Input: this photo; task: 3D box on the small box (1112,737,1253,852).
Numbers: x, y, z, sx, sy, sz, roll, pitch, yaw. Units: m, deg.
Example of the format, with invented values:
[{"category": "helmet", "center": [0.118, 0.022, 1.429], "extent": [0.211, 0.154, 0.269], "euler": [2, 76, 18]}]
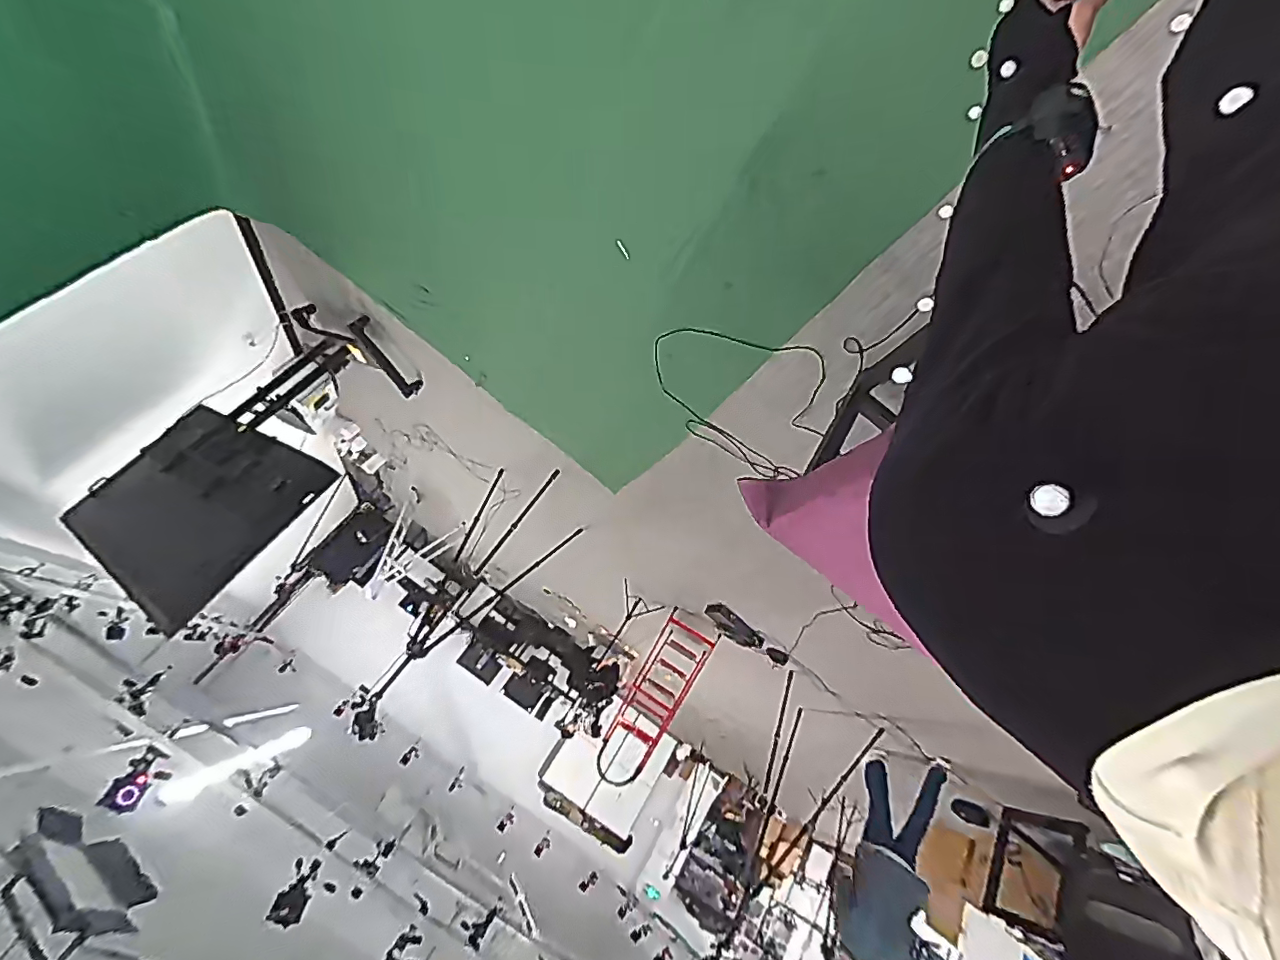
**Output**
[{"category": "small box", "center": [1.270, 0.721, 1.267], "extent": [0.168, 0.176, 0.179], "euler": [36, 152, -1]}]

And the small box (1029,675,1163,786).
[{"category": "small box", "center": [1.068, 0.574, 1.266], "extent": [0.168, 0.176, 0.179], "euler": [39, 153, -5]}]
